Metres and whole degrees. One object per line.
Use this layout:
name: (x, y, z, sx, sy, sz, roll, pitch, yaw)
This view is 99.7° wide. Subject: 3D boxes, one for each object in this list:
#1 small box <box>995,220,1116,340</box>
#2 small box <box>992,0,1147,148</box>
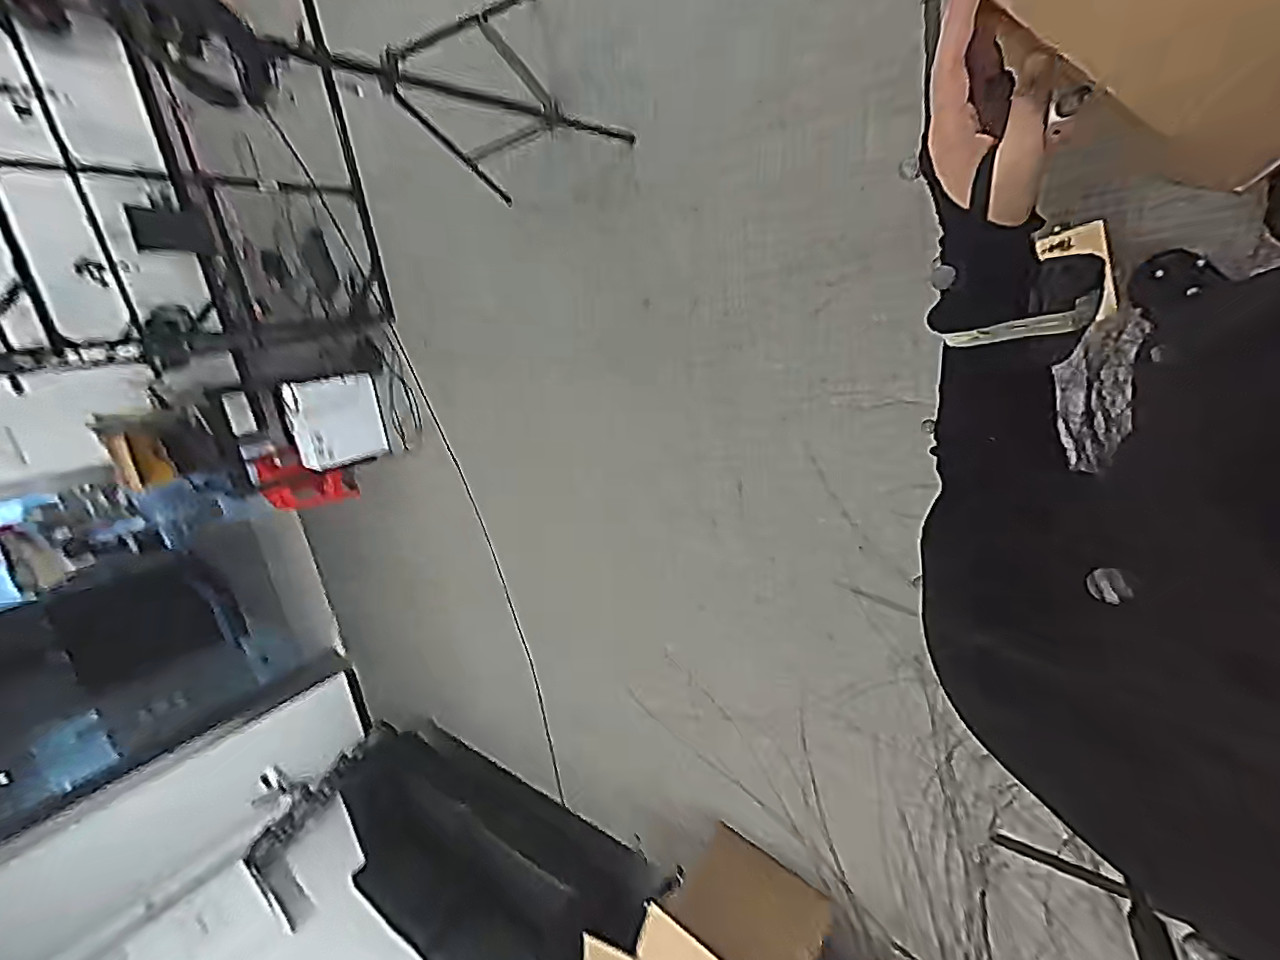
small box: (0.827, -0.396, 1.074, 0.168, 0.176, 0.179, -10, 103, 42)
small box: (0.677, -0.653, 0.860, 0.179, 0.176, 0.168, 5, 111, 40)
